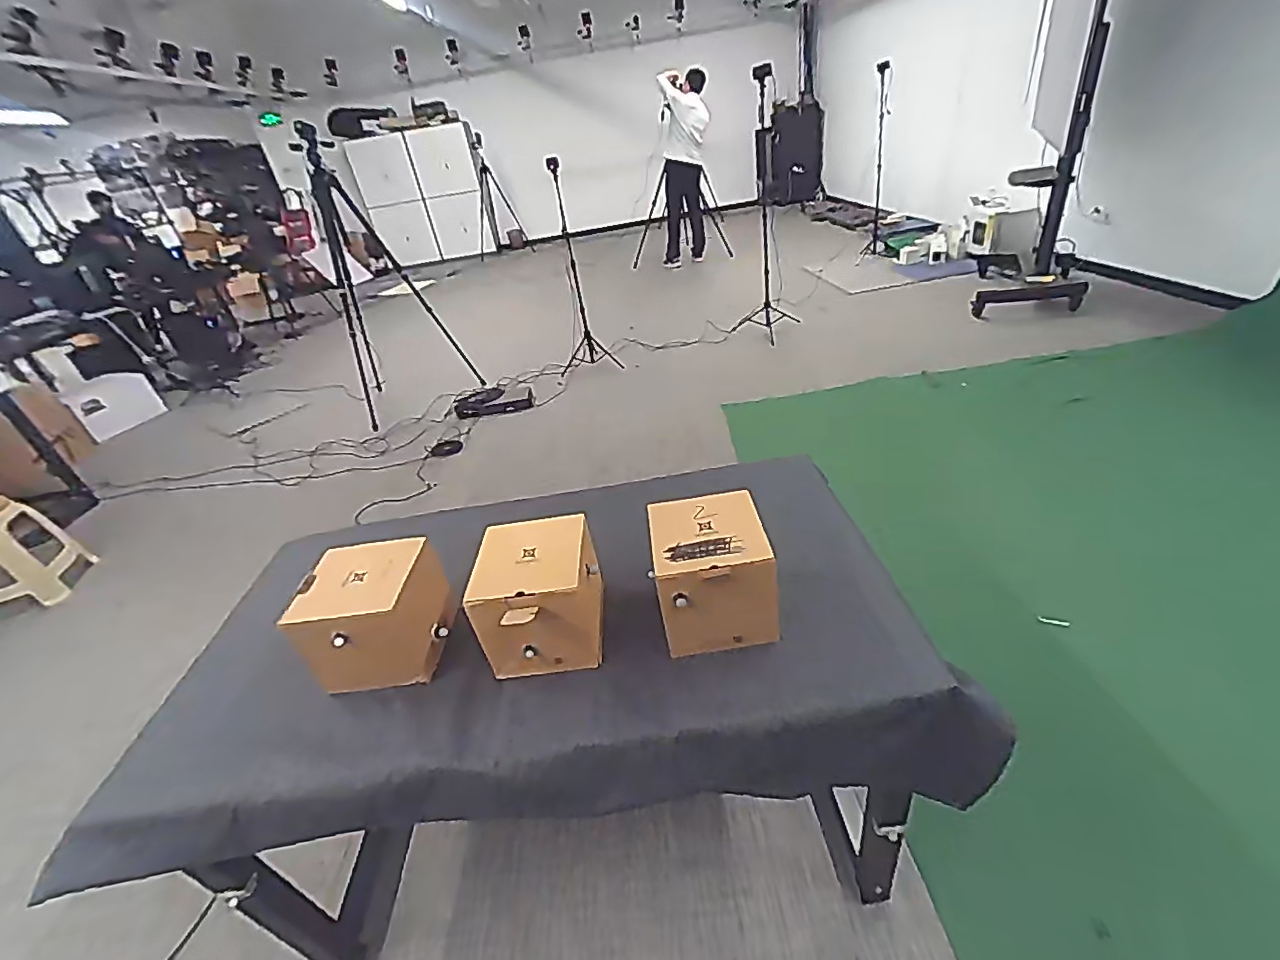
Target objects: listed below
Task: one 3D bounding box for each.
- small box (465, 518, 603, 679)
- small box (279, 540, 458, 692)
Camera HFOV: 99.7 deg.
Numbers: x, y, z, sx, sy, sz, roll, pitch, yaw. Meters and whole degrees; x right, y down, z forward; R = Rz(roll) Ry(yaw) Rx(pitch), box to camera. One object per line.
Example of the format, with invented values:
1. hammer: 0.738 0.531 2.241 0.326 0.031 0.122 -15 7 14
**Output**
1. small box: -0.155 0.185 0.857 0.168 0.176 0.179 -8 33 3
2. small box: -0.421 0.221 0.873 0.179 0.176 0.168 -7 34 3
